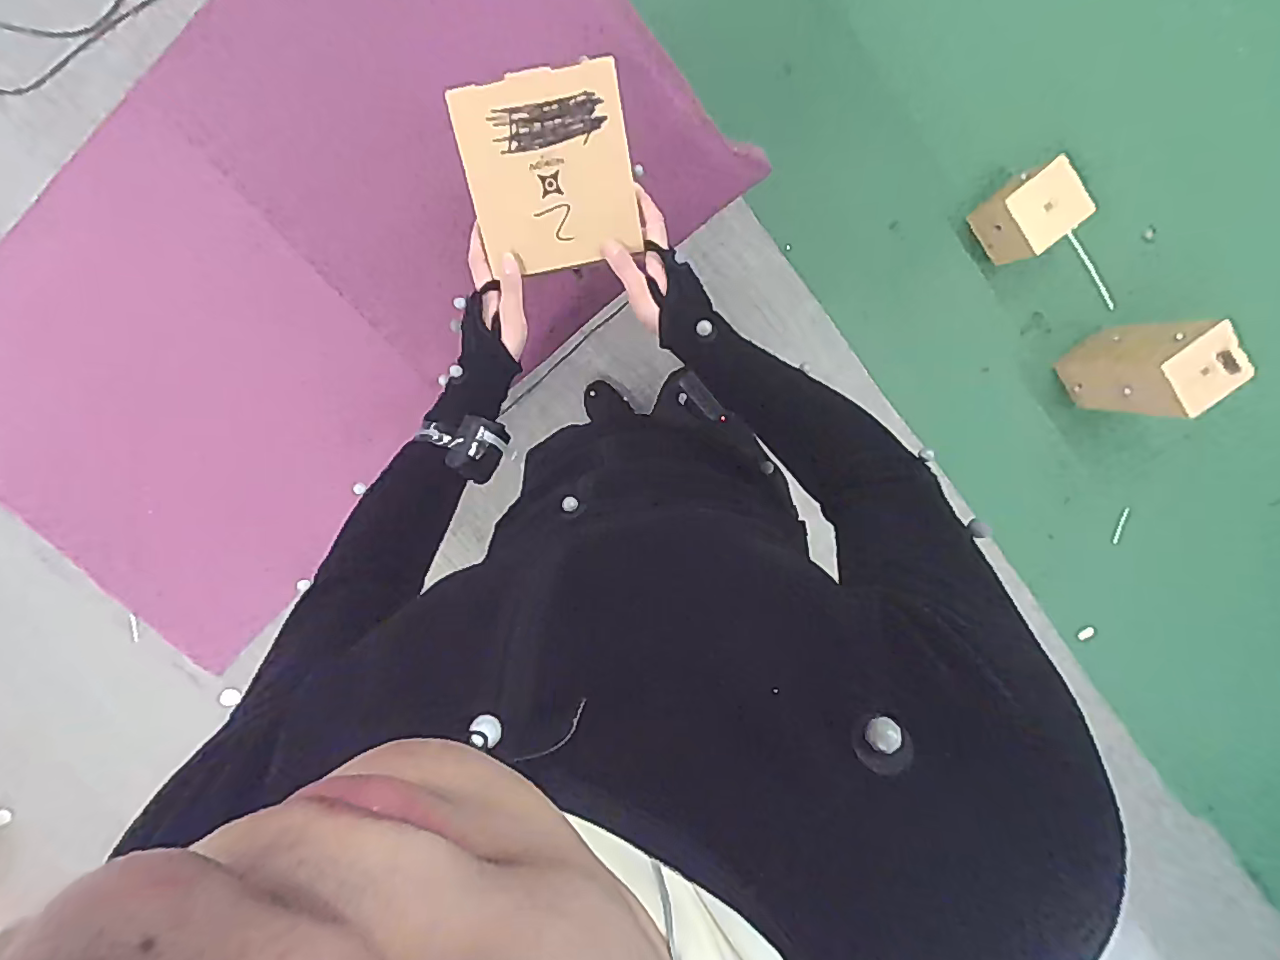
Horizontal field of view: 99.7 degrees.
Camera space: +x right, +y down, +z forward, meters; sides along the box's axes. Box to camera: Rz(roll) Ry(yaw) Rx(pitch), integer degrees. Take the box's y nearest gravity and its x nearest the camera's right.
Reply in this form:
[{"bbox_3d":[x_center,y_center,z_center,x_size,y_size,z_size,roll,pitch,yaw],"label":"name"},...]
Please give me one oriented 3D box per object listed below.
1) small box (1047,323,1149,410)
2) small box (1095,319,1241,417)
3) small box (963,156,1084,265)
[{"bbox_3d":[1.314,-0.320,1.525,0.179,0.176,0.168,-38,101,6],"label":"small box"},{"bbox_3d":[1.323,-0.284,1.365,0.179,0.176,0.168,-39,101,6],"label":"small box"},{"bbox_3d":[0.998,-0.701,1.433,0.179,0.176,0.168,-40,101,5],"label":"small box"}]
